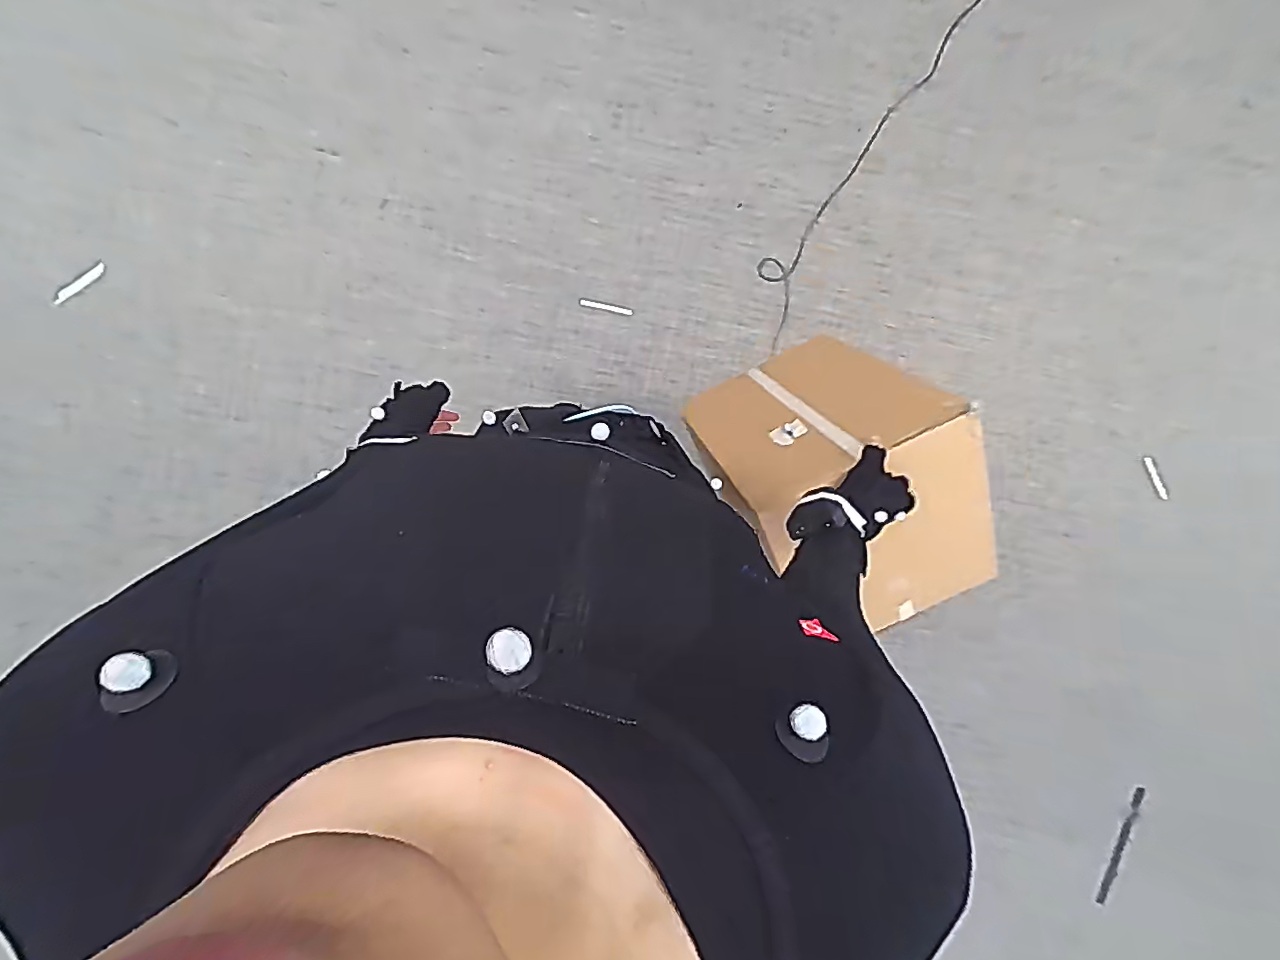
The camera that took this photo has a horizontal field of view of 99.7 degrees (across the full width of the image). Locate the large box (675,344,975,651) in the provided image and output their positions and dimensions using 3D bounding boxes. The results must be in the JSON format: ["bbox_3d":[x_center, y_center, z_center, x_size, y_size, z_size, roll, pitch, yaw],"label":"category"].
[{"bbox_3d":[0.301,0.007,0.952,0.320,0.408,0.320,-27,121,2],"label":"large box"}]
